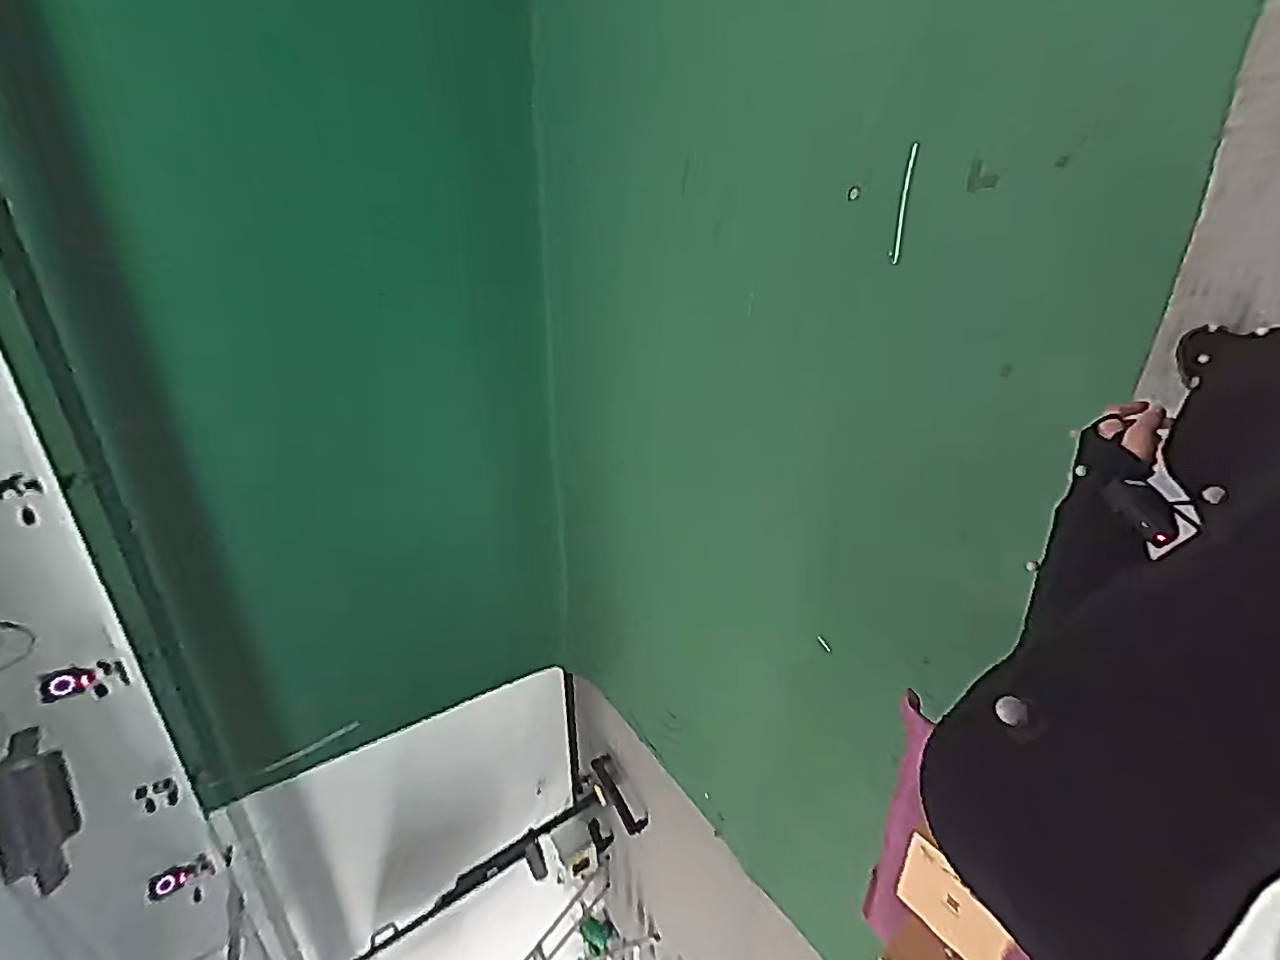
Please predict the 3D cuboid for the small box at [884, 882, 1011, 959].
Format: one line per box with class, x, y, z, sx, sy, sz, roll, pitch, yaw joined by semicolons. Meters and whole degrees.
small box;0.633;0.990;1.120;0.168;0.176;0.179;25;124;49
